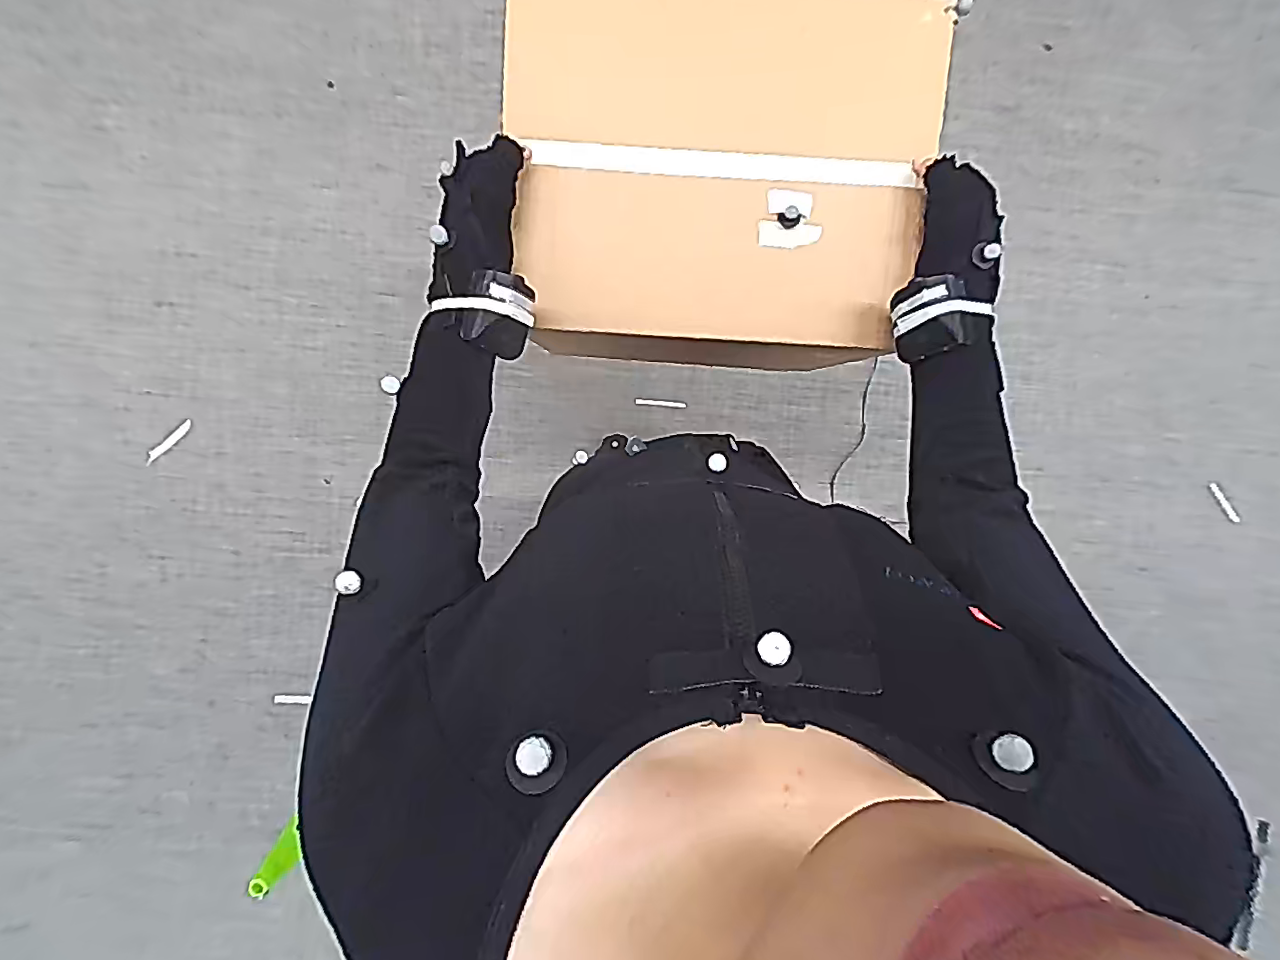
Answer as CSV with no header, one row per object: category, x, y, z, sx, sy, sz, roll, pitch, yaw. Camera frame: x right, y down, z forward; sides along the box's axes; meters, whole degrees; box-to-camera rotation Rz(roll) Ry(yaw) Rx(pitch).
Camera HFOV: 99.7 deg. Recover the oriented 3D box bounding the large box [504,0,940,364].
large box,0.067,-0.316,0.655,0.408,0.320,0.320,3,98,-2
